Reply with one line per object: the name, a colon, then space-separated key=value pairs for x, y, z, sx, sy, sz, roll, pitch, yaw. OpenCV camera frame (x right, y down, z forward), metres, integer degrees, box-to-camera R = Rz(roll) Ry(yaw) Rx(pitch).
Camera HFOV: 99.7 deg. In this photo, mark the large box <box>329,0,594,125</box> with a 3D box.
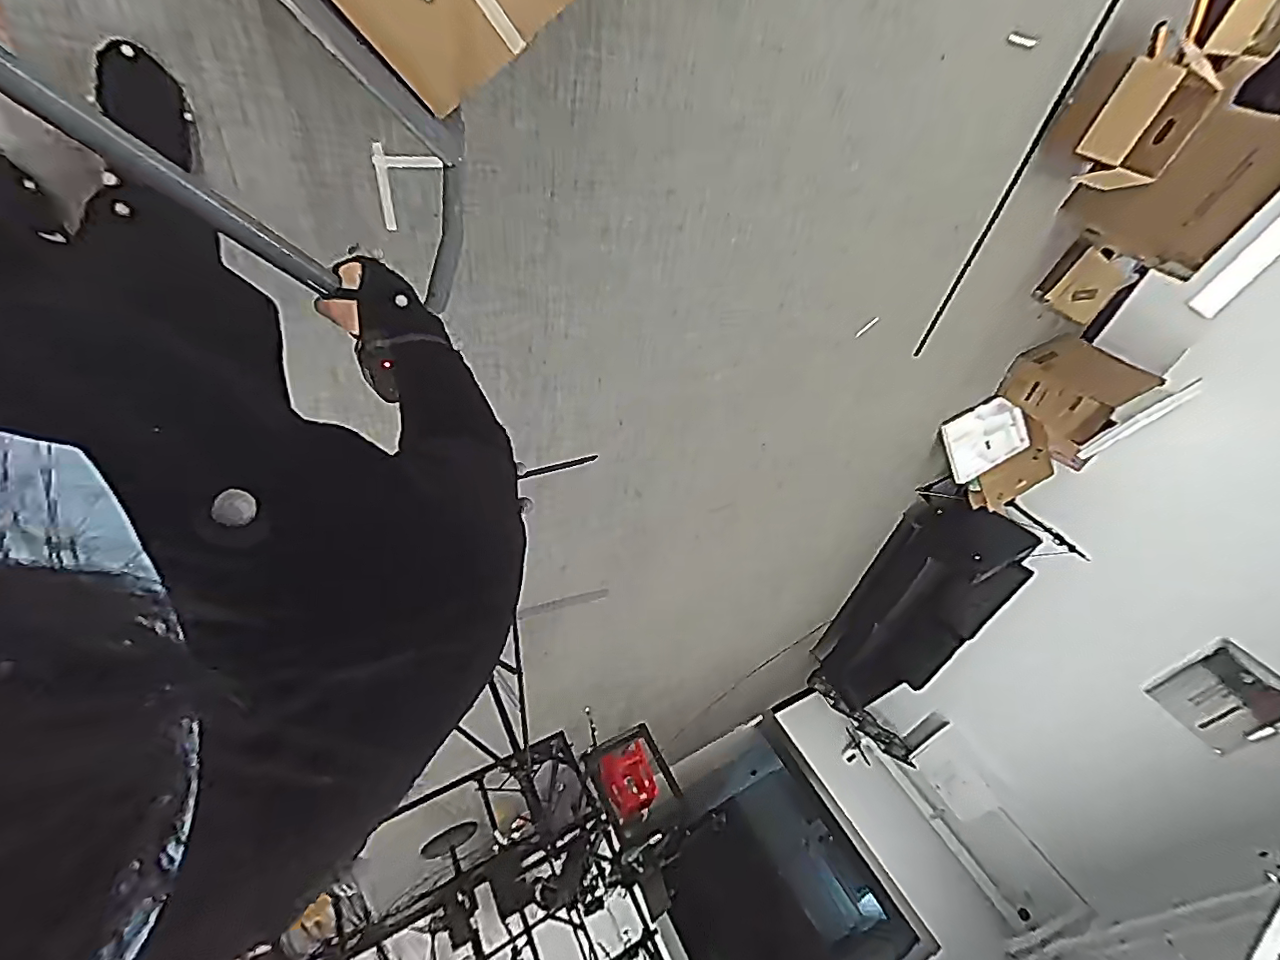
large box: x=-0.287 y=-0.770 z=0.652 sx=0.320 sy=0.320 sz=0.408 roll=-25 pitch=150 yaw=20
